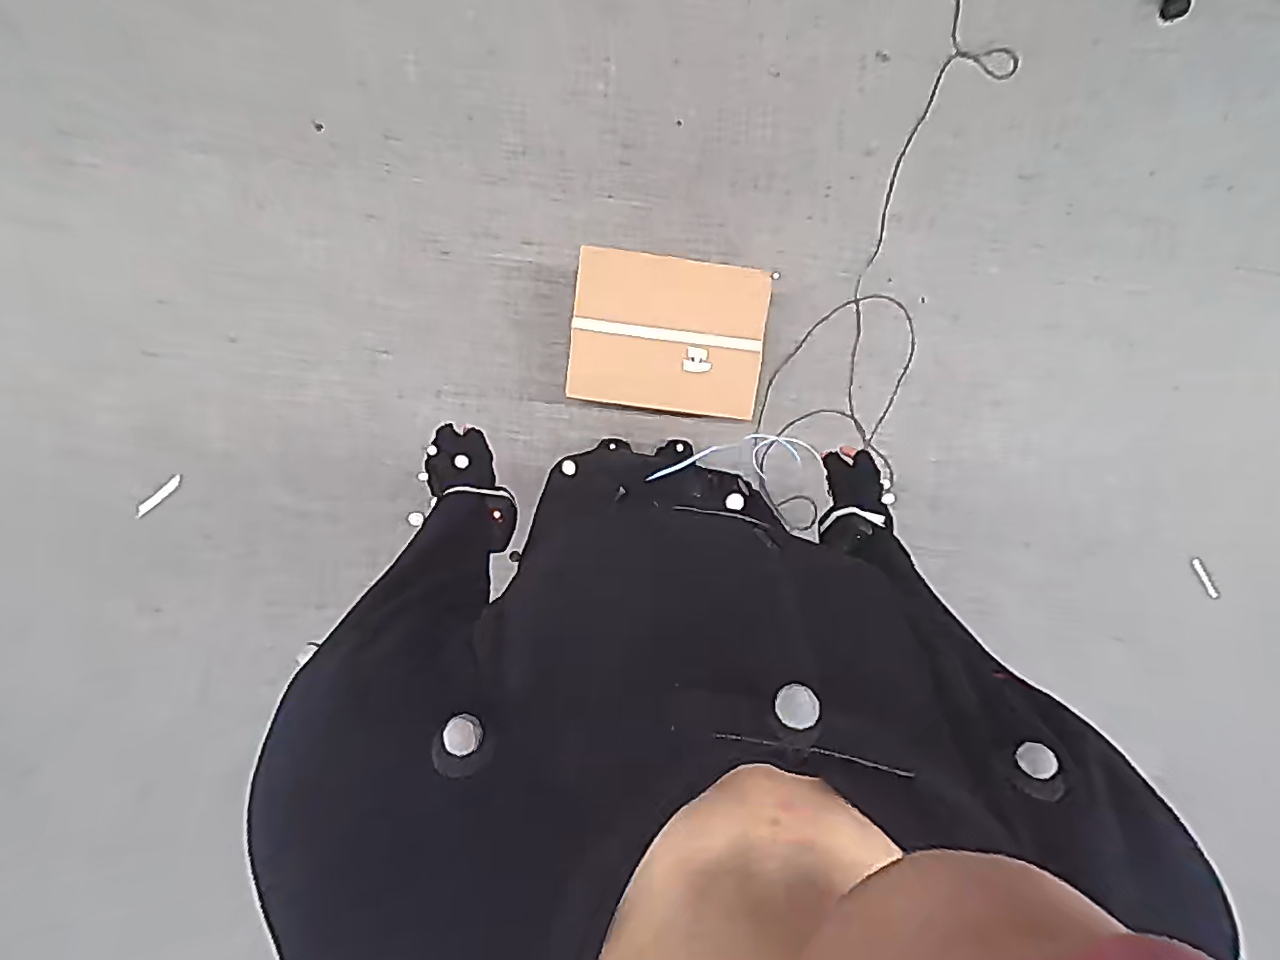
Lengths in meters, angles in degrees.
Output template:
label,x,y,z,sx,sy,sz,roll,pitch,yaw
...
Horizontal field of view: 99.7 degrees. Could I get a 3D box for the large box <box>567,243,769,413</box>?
label,x,y,z,sx,sy,sz,roll,pitch,yaw
large box,0.048,-0.336,1.289,0.408,0.320,0.320,7,98,-4
